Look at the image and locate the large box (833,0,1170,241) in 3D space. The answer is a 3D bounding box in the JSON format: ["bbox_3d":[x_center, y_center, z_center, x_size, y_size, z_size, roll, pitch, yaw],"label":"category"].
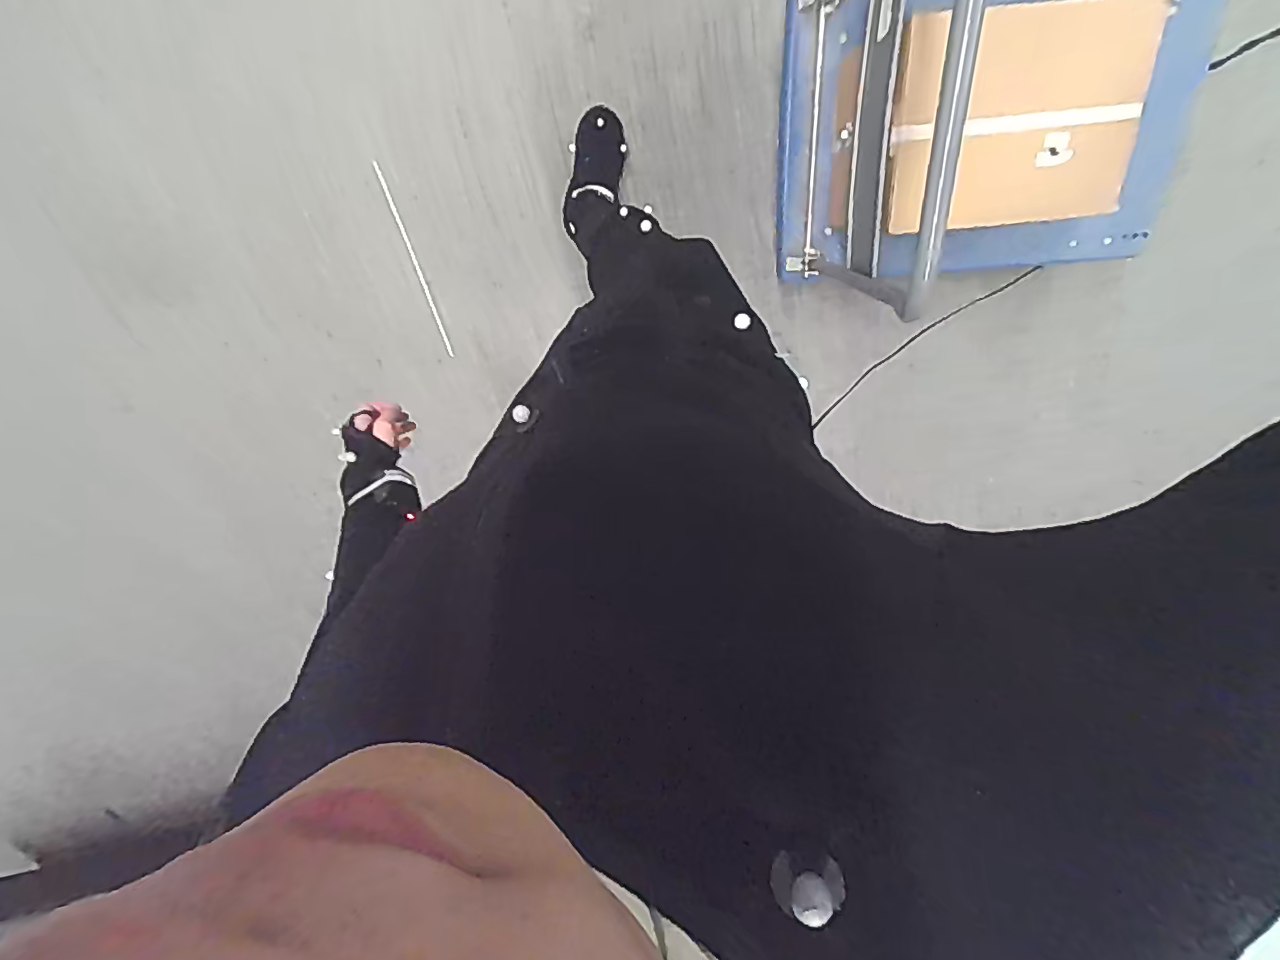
[{"bbox_3d":[0.622,-0.646,1.026,0.408,0.320,0.320,-5,117,0],"label":"large box"}]
